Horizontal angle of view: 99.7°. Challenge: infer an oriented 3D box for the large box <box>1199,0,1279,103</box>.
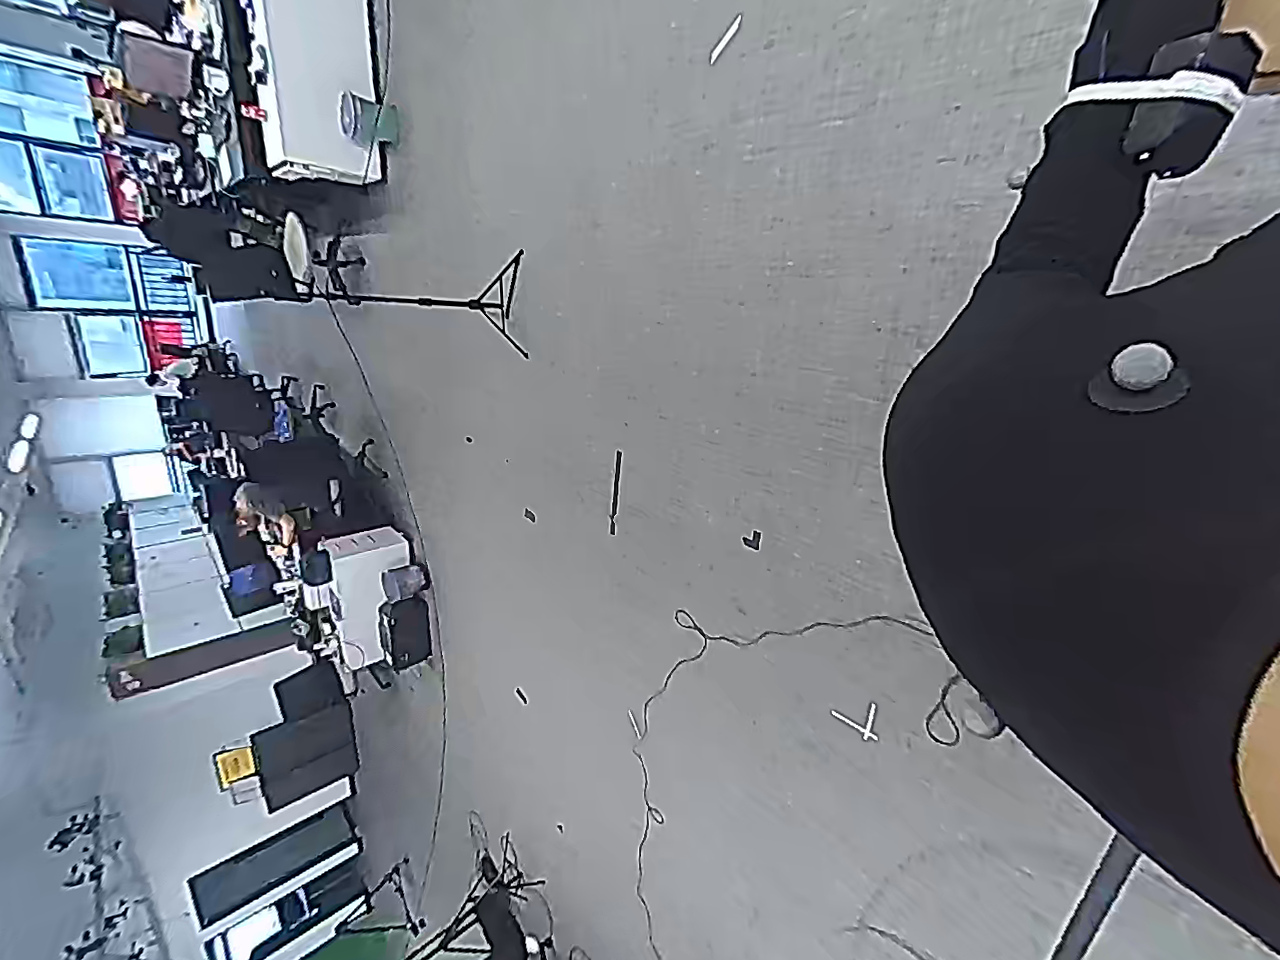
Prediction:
[{"bbox_3d":[0.605,-0.395,0.257,0.408,0.320,0.320,23,130,38],"label":"large box"}]
